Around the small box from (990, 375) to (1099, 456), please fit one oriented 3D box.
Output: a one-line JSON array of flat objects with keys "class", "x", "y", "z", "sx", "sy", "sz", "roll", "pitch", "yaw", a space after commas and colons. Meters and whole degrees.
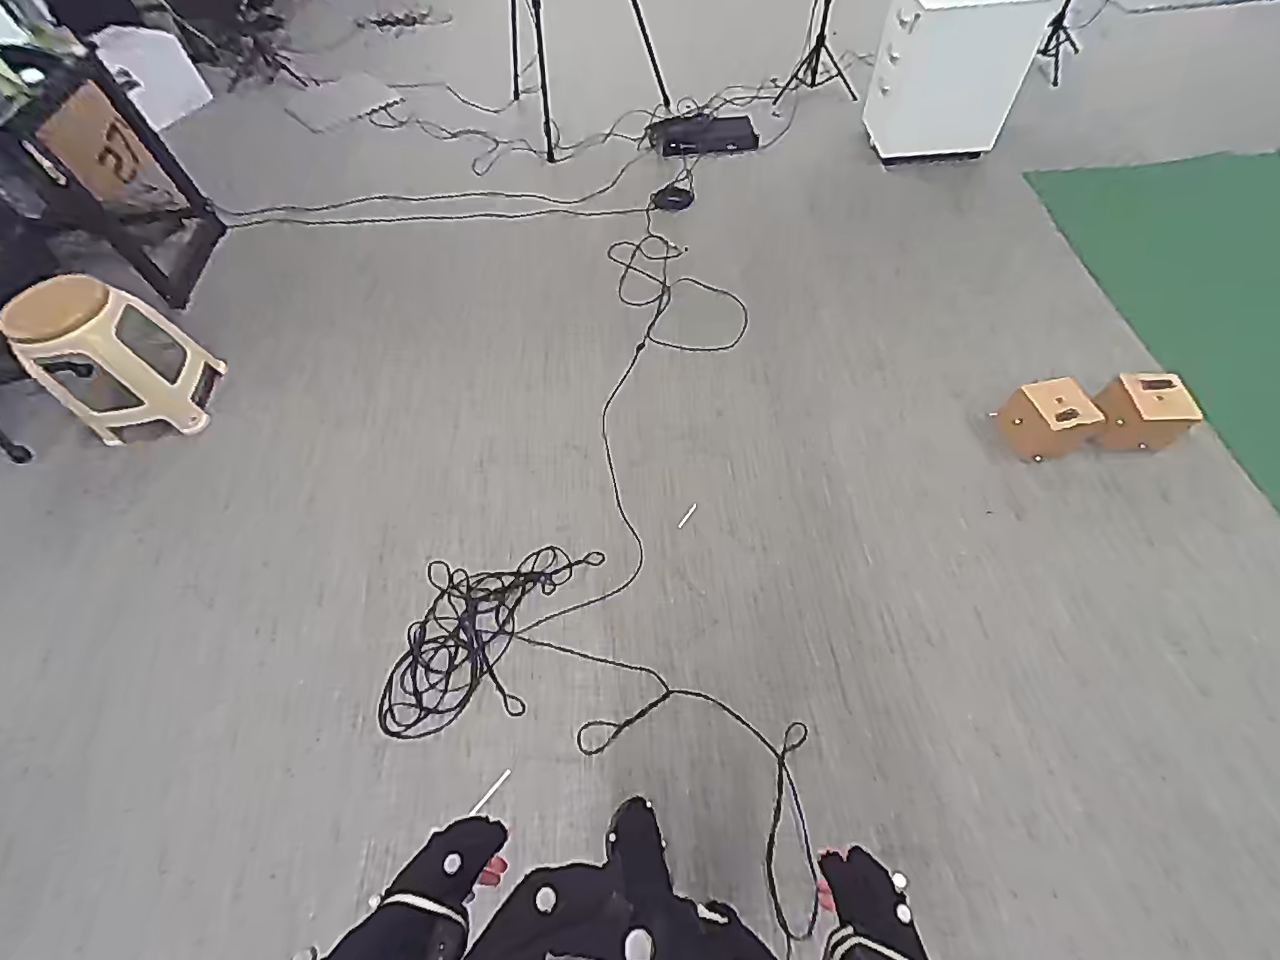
[{"class": "small box", "x": 1.221, "y": -0.190, "z": 1.649, "sx": 0.168, "sy": 0.176, "sz": 0.179, "roll": -11, "pitch": 57, "yaw": -4}]
